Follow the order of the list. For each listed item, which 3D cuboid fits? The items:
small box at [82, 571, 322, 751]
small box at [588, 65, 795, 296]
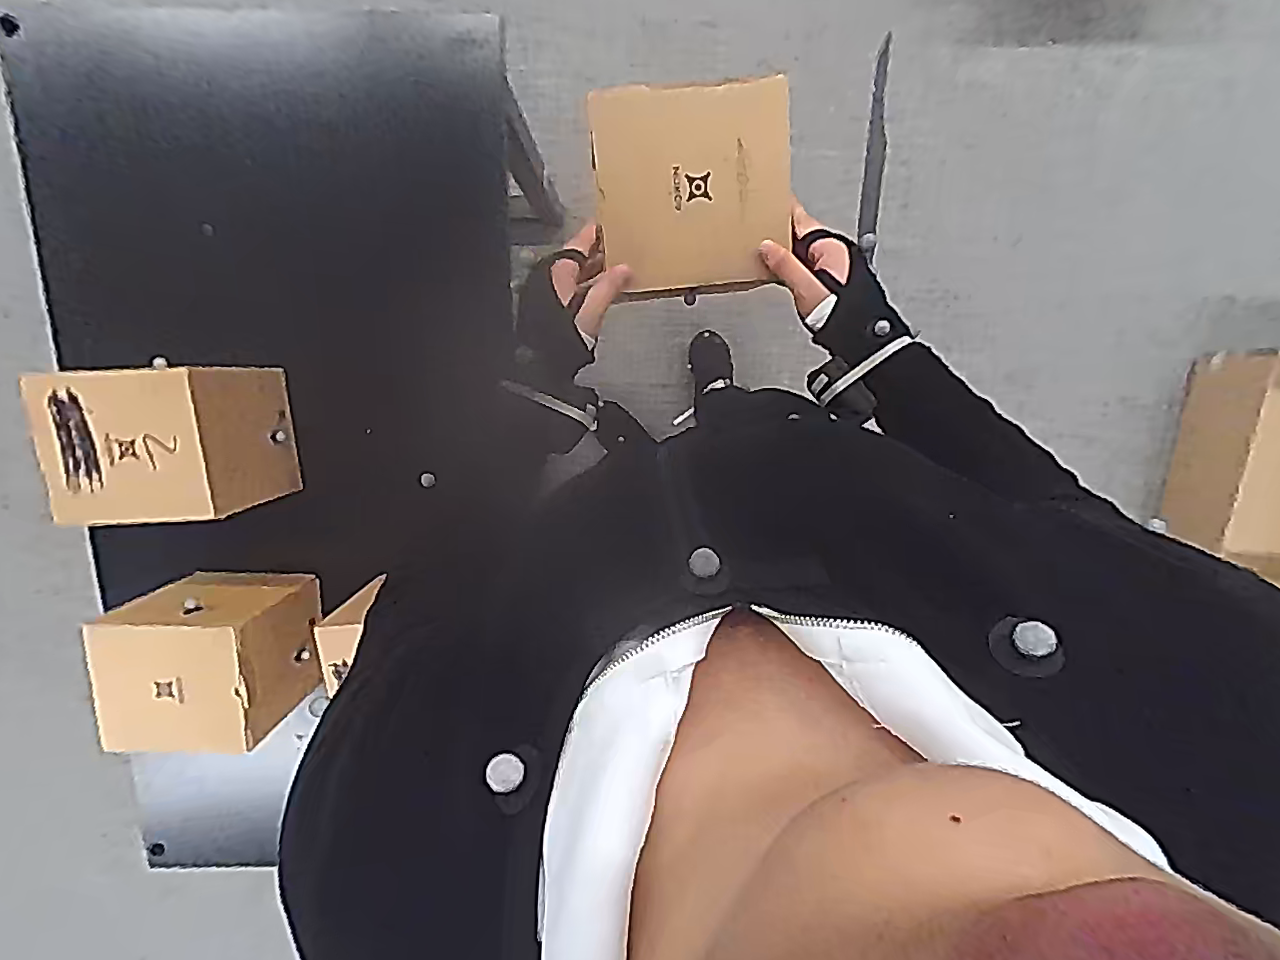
[{"bbox_3d":[-0.555,0.226,0.711,0.179,0.176,0.168,1,101,-2],"label":"small box"},{"bbox_3d":[0.045,-0.284,0.551,0.179,0.176,0.168,-6,106,-2],"label":"small box"}]
